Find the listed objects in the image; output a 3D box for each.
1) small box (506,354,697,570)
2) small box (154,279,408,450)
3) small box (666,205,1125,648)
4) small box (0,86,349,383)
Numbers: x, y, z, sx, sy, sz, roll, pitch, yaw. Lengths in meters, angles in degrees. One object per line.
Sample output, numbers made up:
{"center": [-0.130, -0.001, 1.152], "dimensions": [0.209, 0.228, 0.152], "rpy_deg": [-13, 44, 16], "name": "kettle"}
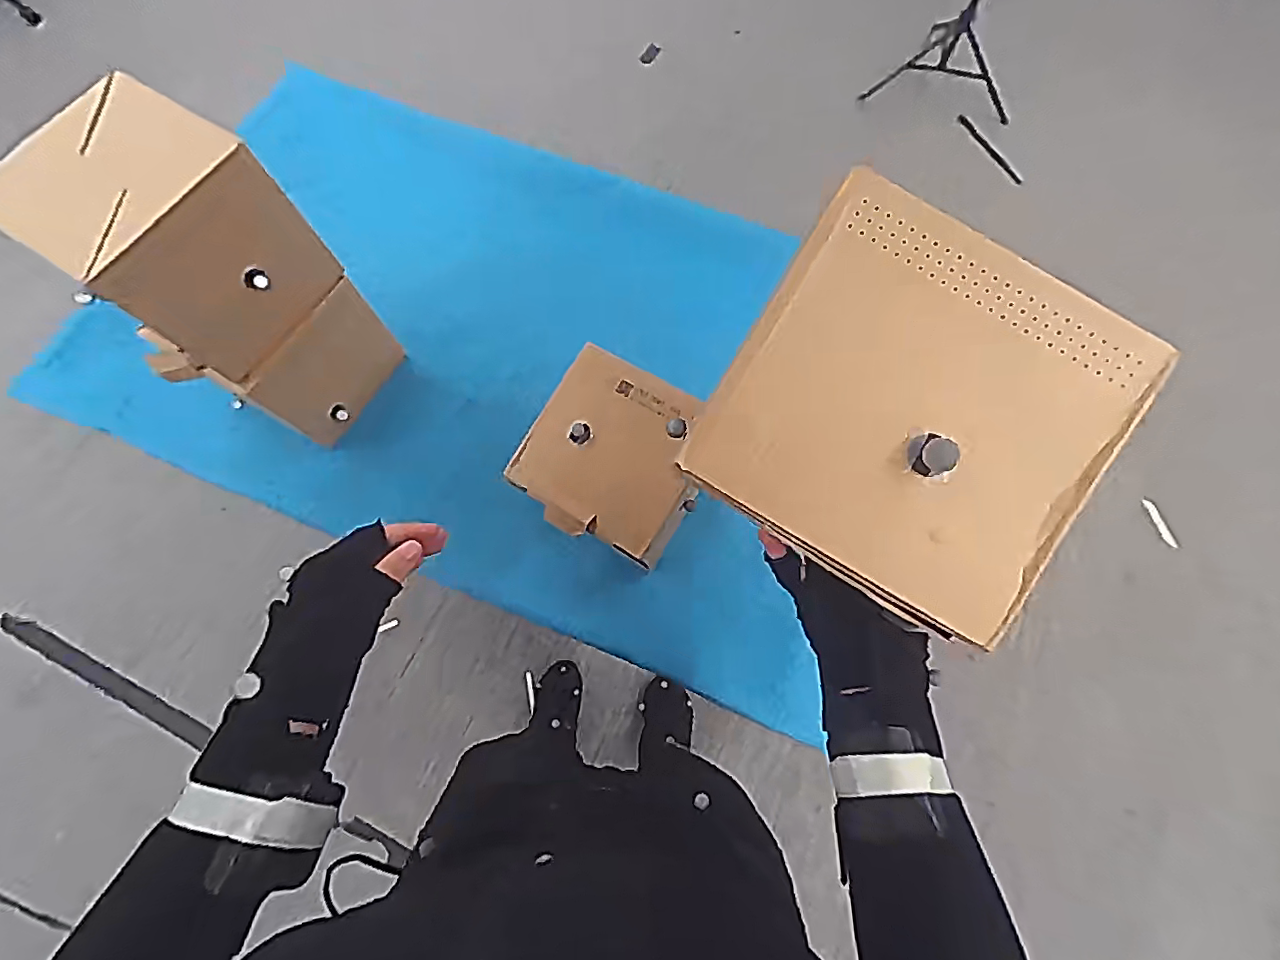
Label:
{"center": [-0.019, -0.014, 0.619], "dimensions": [0.168, 0.179, 0.176], "rpy_deg": [31, 82, 10], "name": "small box"}
{"center": [-0.444, -0.171, 0.689], "dimensions": [0.168, 0.176, 0.179], "rpy_deg": [28, 75, 9], "name": "small box"}
{"center": [0.133, -0.032, 0.342], "dimensions": [0.179, 0.168, 0.176], "rpy_deg": [31, 91, 2], "name": "small box"}
{"center": [-0.448, -0.235, 0.537], "dimensions": [0.168, 0.176, 0.179], "rpy_deg": [31, 77, 10], "name": "small box"}
